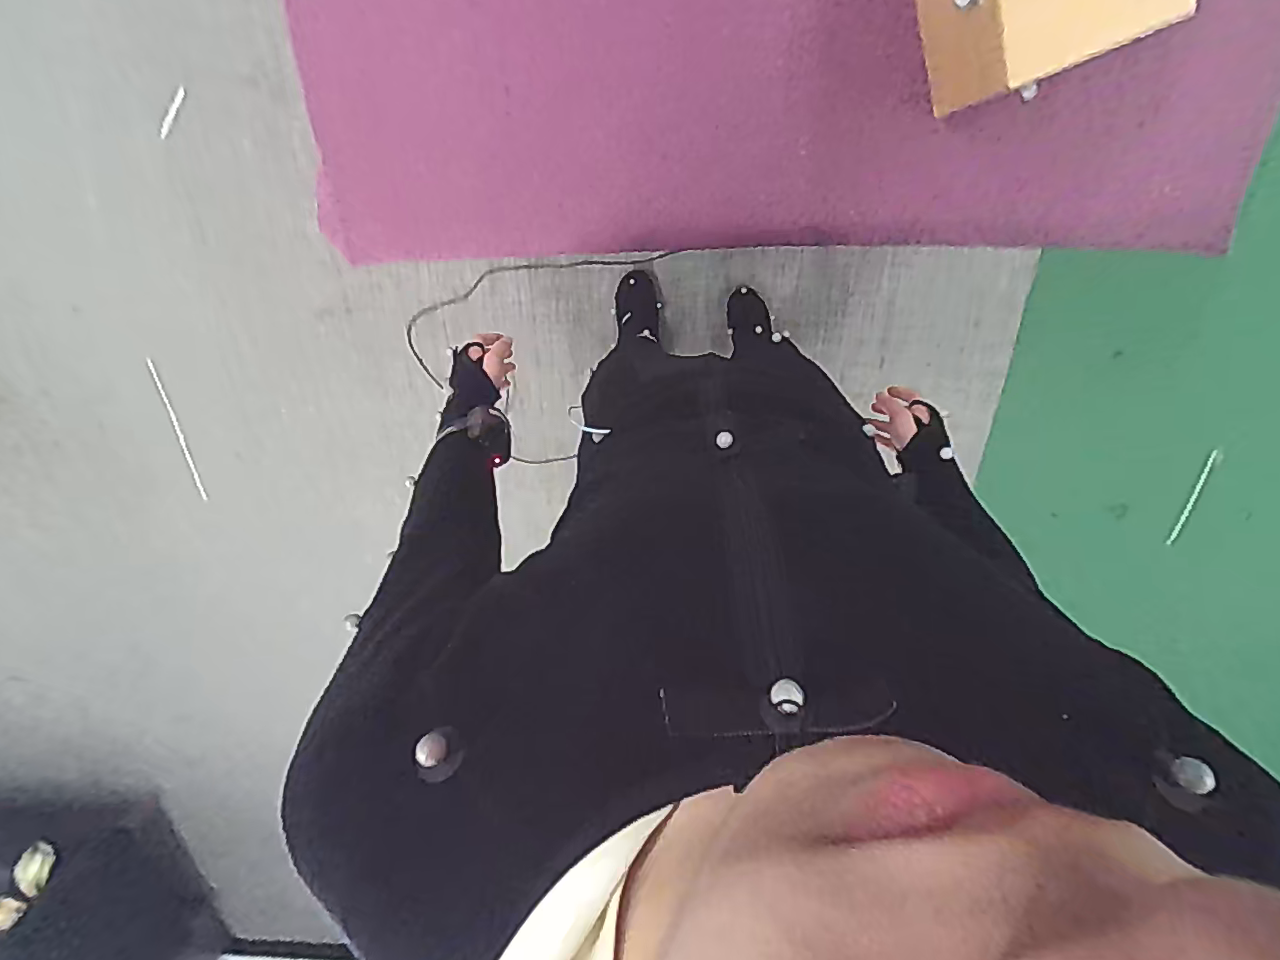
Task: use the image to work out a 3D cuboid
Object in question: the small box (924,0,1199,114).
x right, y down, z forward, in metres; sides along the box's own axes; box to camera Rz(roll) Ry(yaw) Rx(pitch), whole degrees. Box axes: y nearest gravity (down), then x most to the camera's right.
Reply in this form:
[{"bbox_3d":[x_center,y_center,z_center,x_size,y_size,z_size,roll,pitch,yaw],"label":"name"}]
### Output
[{"bbox_3d":[0.415,-0.508,0.556,0.168,0.176,0.179,-18,112,12],"label":"small box"}]
